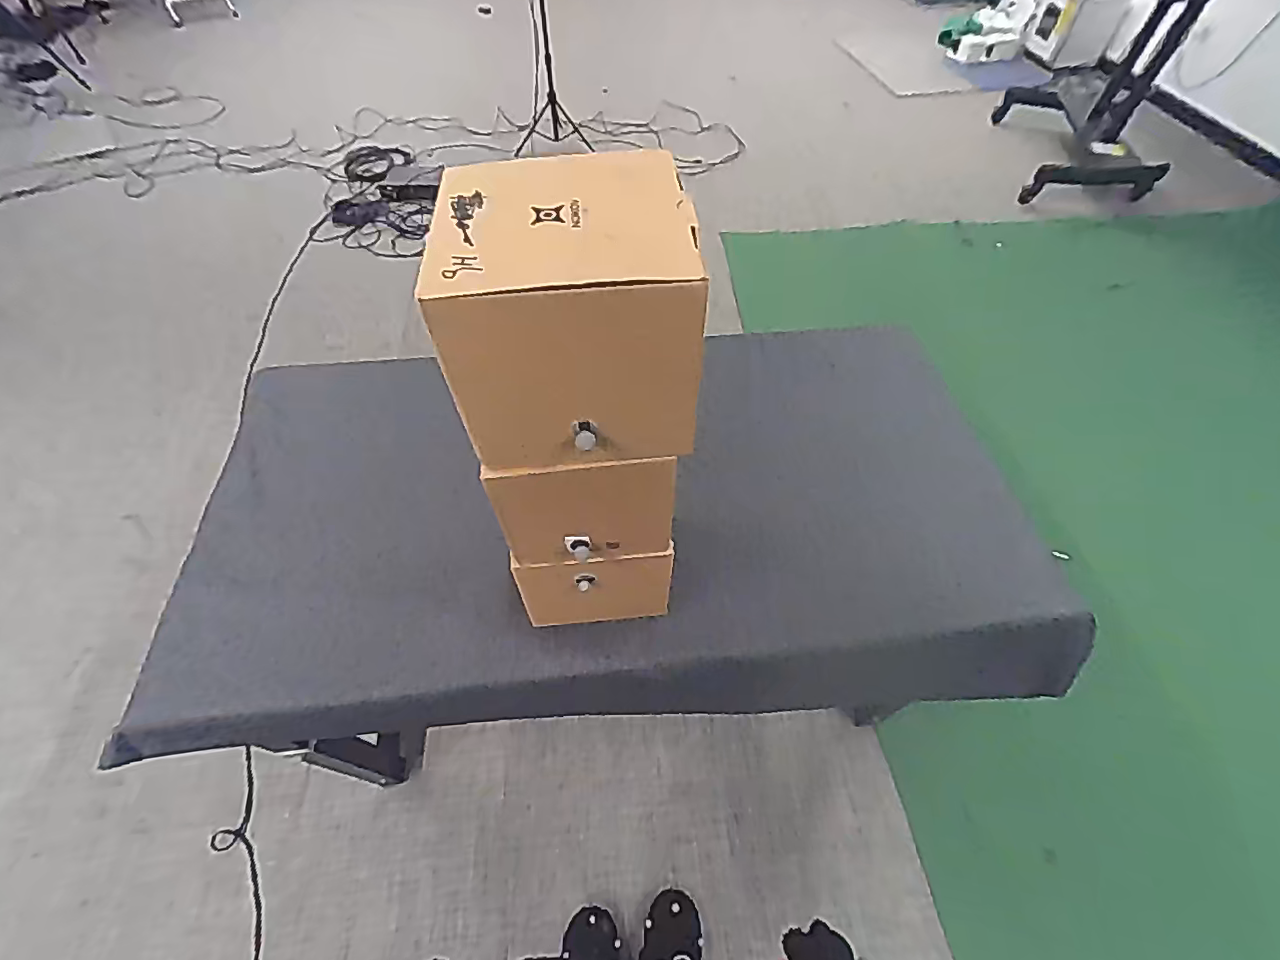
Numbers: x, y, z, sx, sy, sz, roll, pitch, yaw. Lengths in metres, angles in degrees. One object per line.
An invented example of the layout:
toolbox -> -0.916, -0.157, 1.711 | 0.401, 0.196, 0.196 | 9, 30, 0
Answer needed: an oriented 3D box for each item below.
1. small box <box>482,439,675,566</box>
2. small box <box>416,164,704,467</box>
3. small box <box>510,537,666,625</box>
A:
small box -> -0.062, -0.031, 0.568 | 0.168, 0.176, 0.179 | -7, 55, -4
small box -> -0.055, -0.126, 0.435 | 0.179, 0.176, 0.168 | -5, 54, -3
small box -> -0.064, 0.080, 0.707 | 0.179, 0.176, 0.168 | -4, 55, -5
